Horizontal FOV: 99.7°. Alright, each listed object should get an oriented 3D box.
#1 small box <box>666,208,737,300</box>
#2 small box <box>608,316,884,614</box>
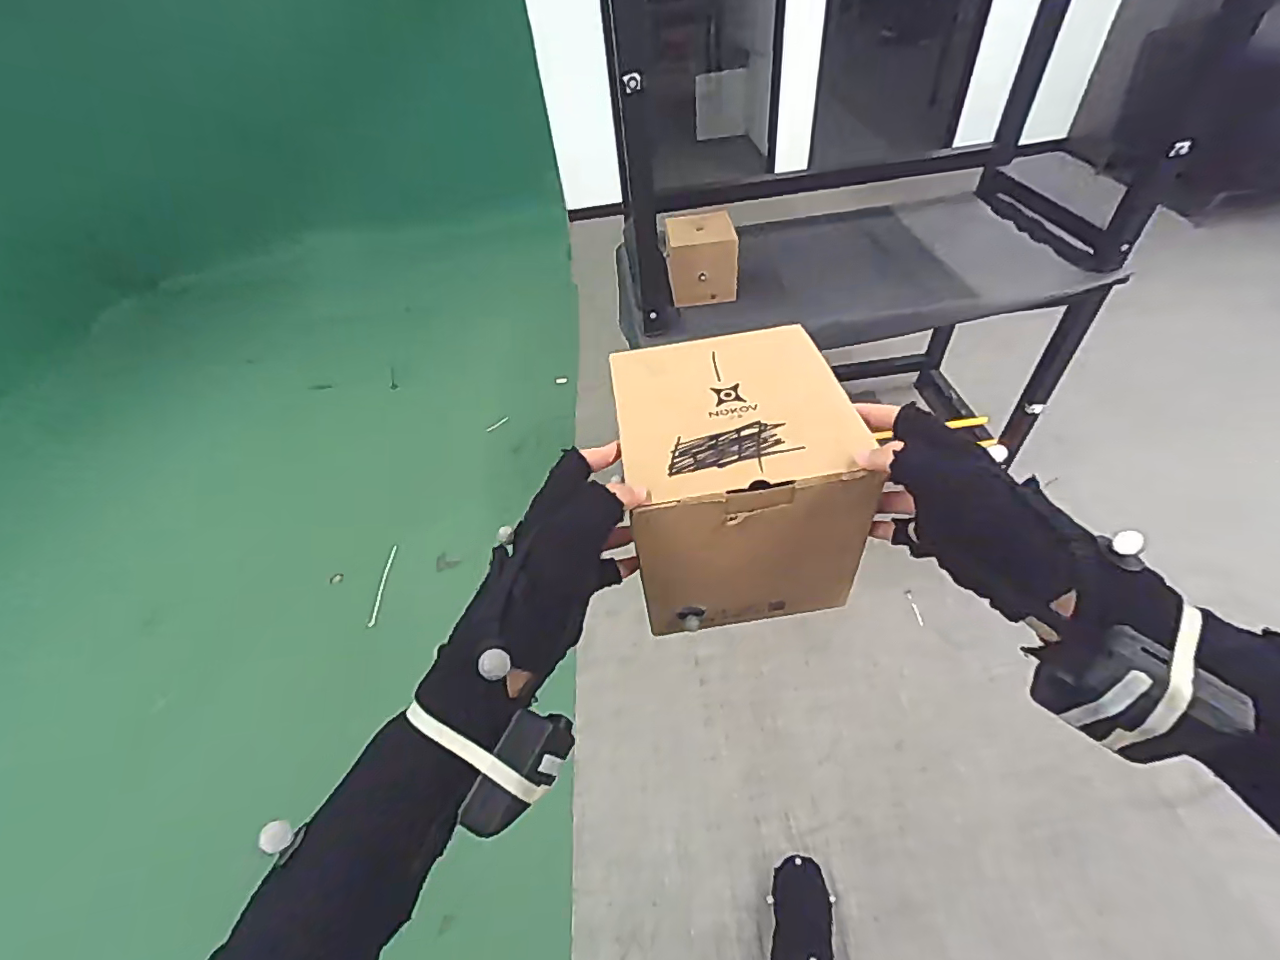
[{"bbox_3d":[0.161,-0.586,1.418,0.168,0.176,0.179,-5,47,2],"label":"small box"},{"bbox_3d":[0.071,-0.006,0.442,0.168,0.176,0.179,-8,45,0],"label":"small box"}]
